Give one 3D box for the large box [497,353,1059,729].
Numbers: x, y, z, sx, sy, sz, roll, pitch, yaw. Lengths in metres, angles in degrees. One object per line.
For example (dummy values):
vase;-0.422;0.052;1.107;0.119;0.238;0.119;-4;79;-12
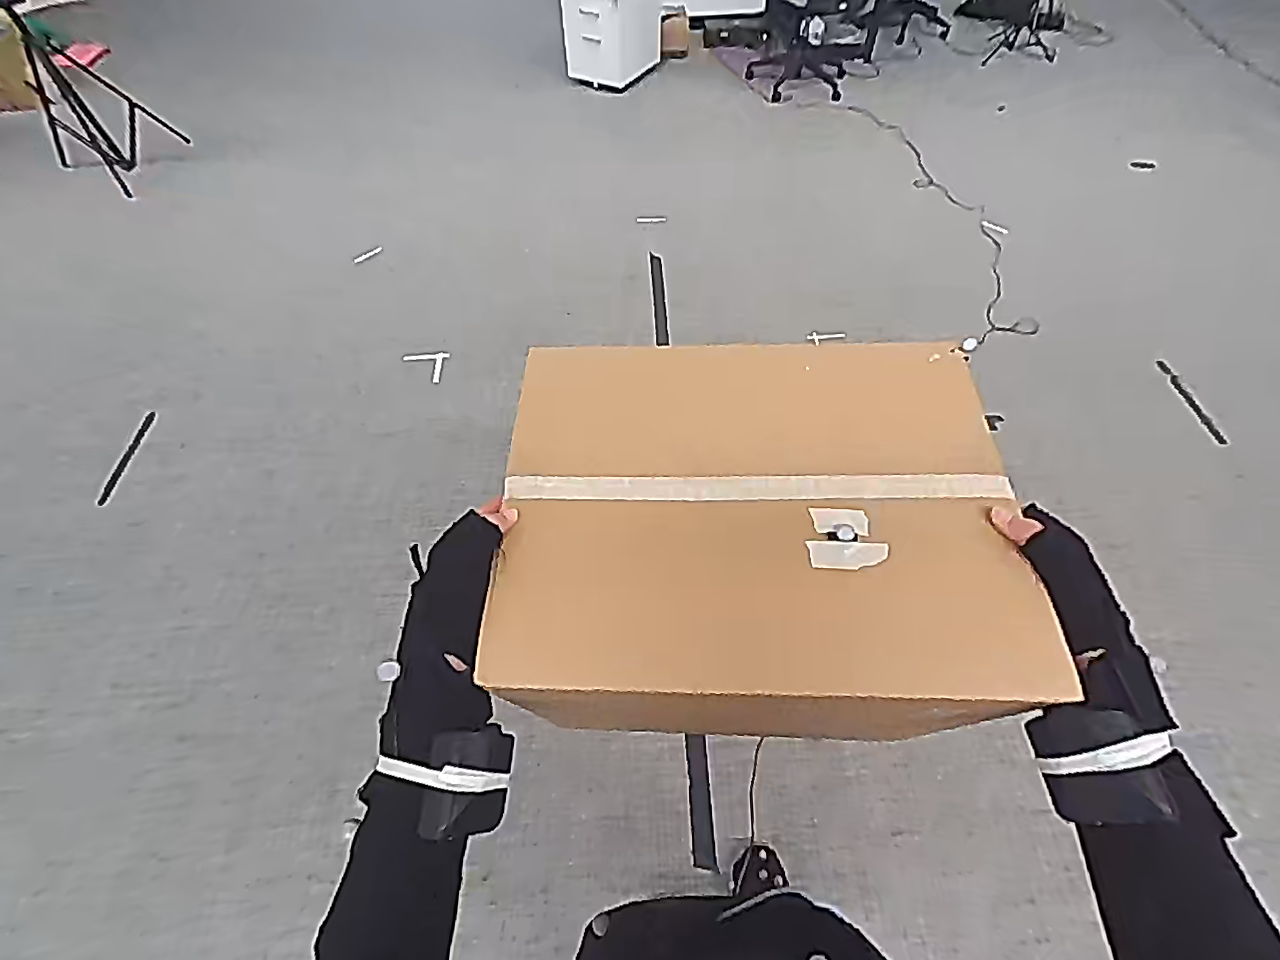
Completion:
large box;0.100;0.086;0.582;0.408;0.320;0.320;0;61;3
